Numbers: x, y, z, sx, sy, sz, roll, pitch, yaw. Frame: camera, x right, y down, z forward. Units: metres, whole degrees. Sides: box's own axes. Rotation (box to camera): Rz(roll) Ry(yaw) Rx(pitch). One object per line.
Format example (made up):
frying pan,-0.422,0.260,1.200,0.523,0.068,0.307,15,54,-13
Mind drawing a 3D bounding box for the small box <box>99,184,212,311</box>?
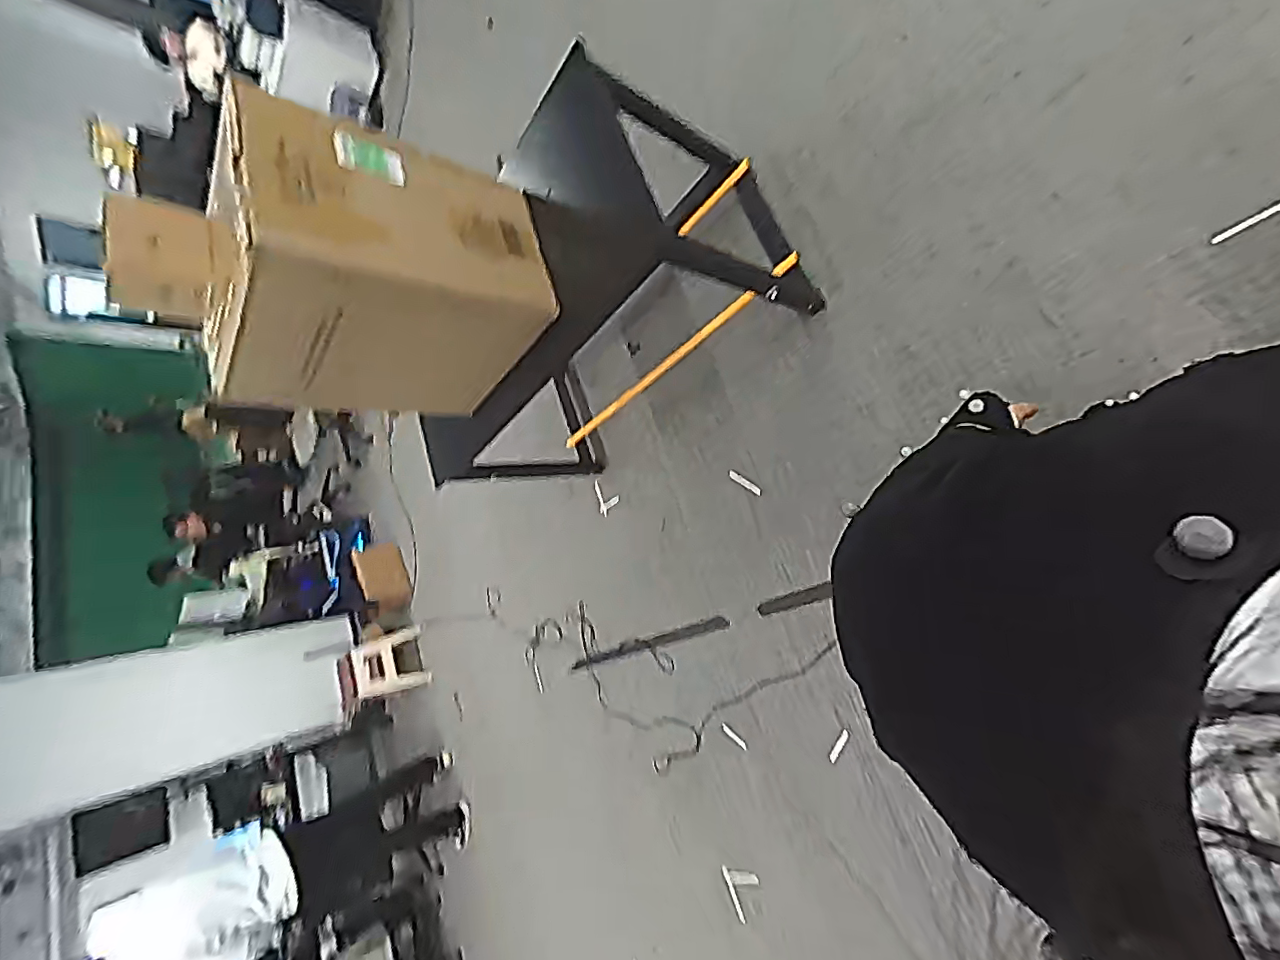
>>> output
small box,-1.040,-0.485,1.163,0.168,0.176,0.179,-30,70,41
